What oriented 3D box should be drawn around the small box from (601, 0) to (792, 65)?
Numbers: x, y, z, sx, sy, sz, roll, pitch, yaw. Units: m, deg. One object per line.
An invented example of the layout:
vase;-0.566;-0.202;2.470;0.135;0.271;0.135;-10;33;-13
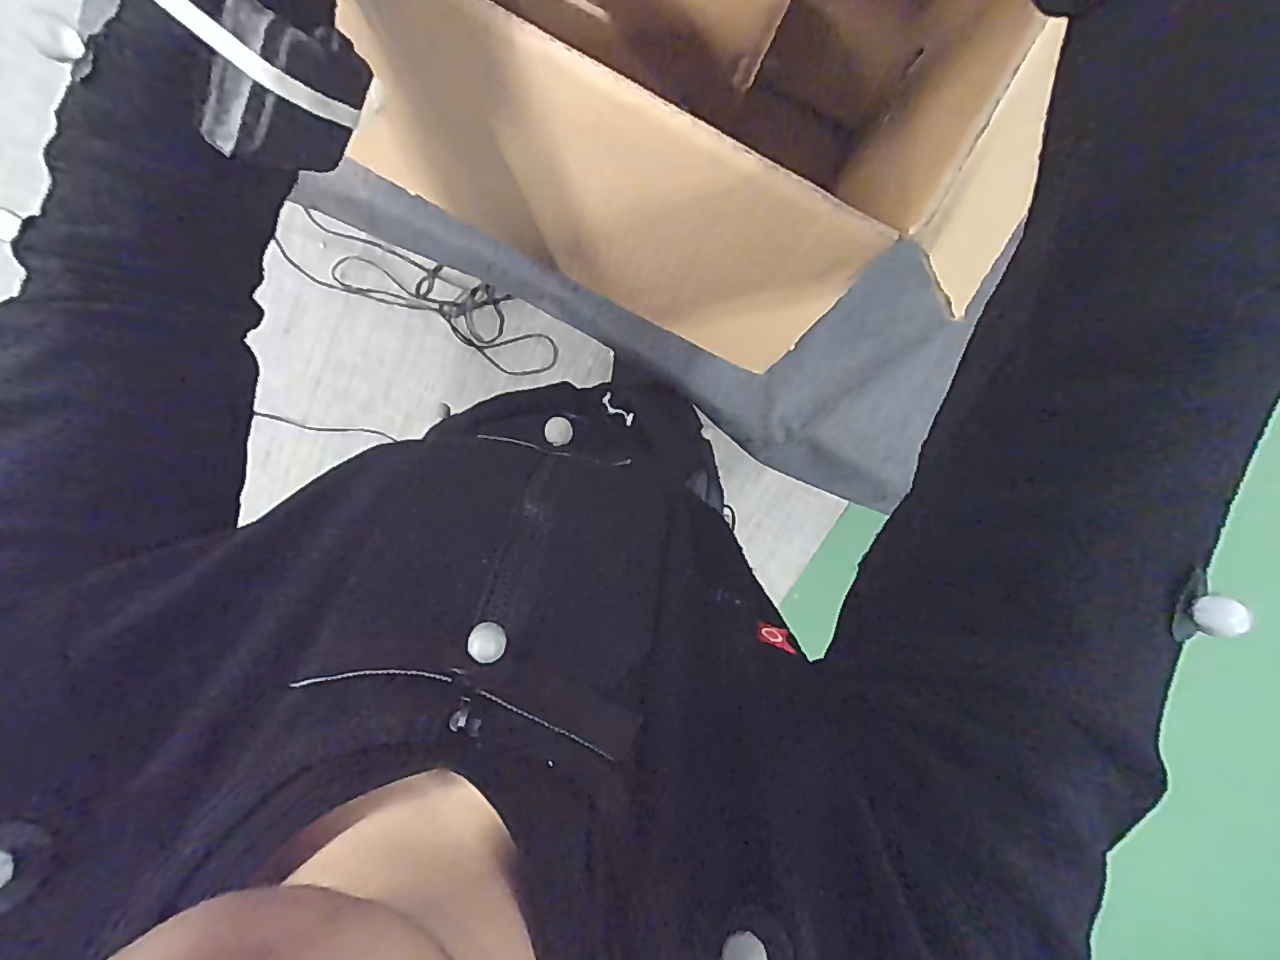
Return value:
small box;0.033;-0.349;0.258;0.179;0.176;0.168;26;104;-6
